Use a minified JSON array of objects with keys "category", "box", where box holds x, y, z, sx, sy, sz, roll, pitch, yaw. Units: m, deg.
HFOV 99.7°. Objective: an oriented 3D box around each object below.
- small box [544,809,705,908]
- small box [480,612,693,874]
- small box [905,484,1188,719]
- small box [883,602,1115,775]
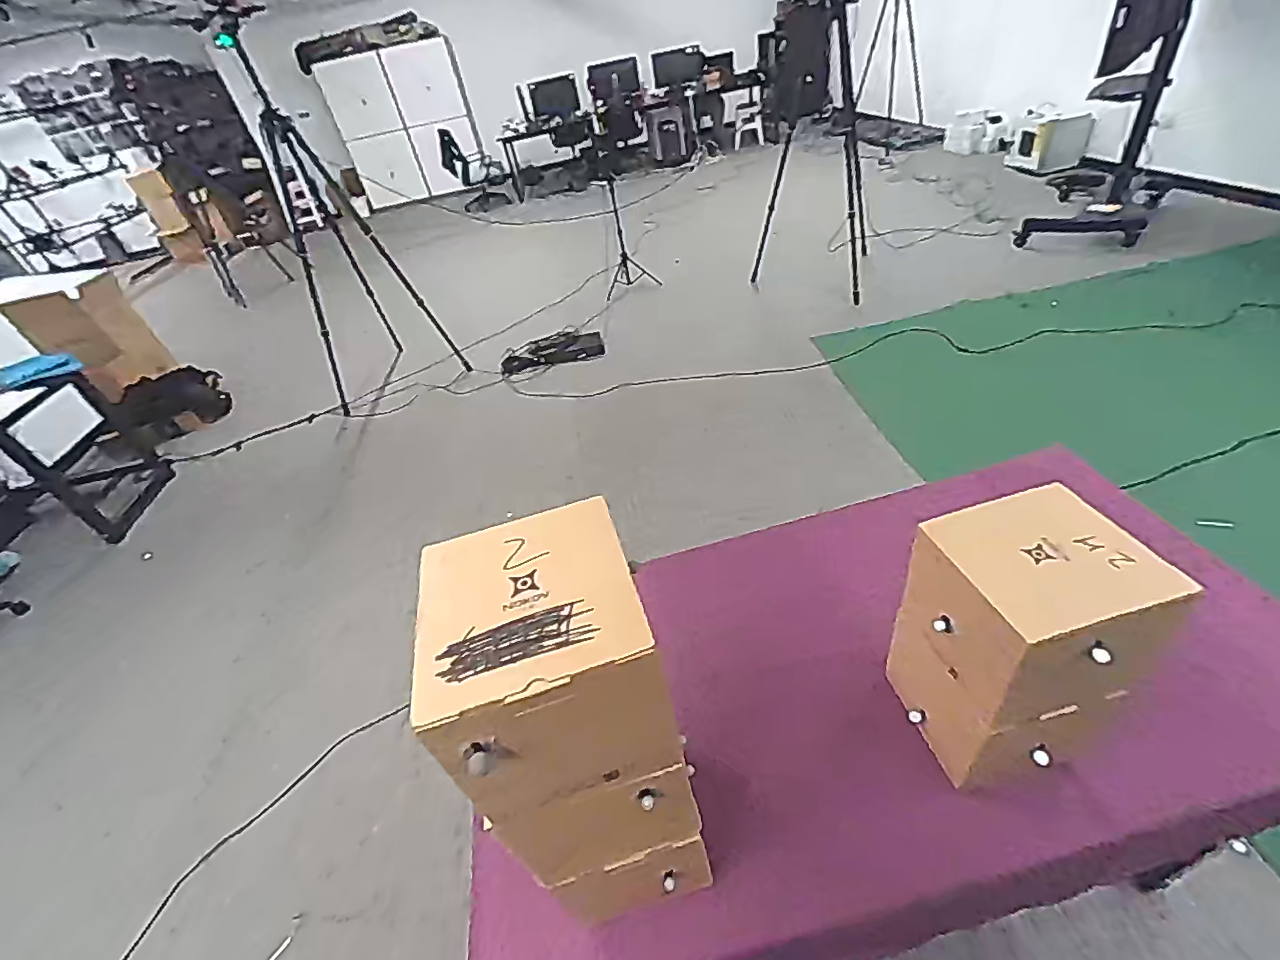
[{"category":"small box","box":[-0.024,0.397,0.671,0.168,0.176,0.179,-15,39,-4]},{"category":"small box","box":[-0.055,0.275,0.567,0.179,0.176,0.168,-16,40,-6]},{"category":"small box","box":[0.420,0.136,0.601,0.179,0.176,0.168,-15,40,-3]},{"category":"small box","box":[0.445,0.260,0.708,0.168,0.176,0.179,-15,40,-3]}]
